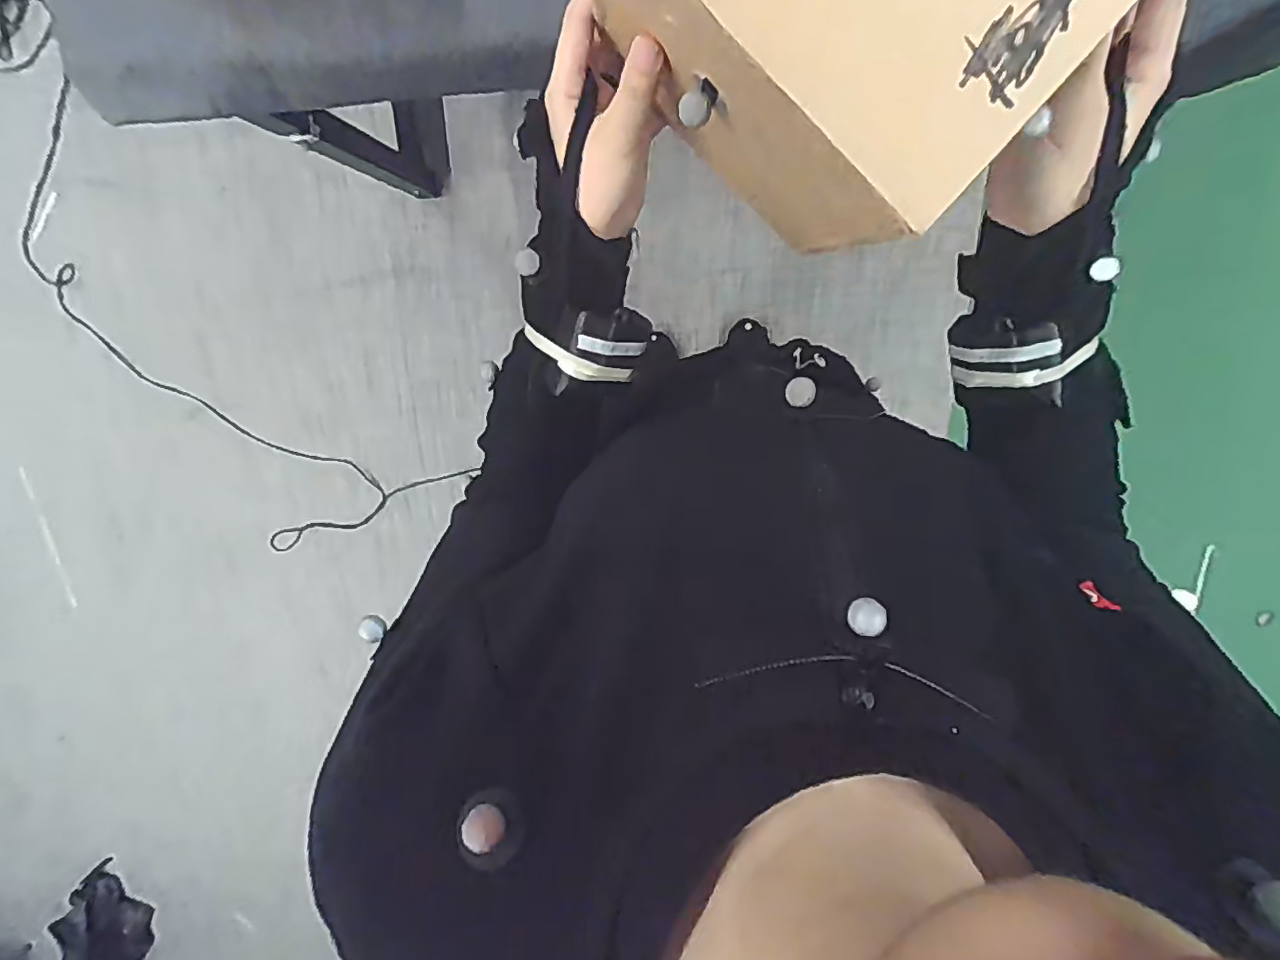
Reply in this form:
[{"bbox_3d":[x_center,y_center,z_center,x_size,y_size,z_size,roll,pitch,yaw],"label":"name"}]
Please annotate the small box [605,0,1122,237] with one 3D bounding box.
[{"bbox_3d":[0.093,-0.234,0.245,0.179,0.176,0.168,37,106,-12],"label":"small box"}]
